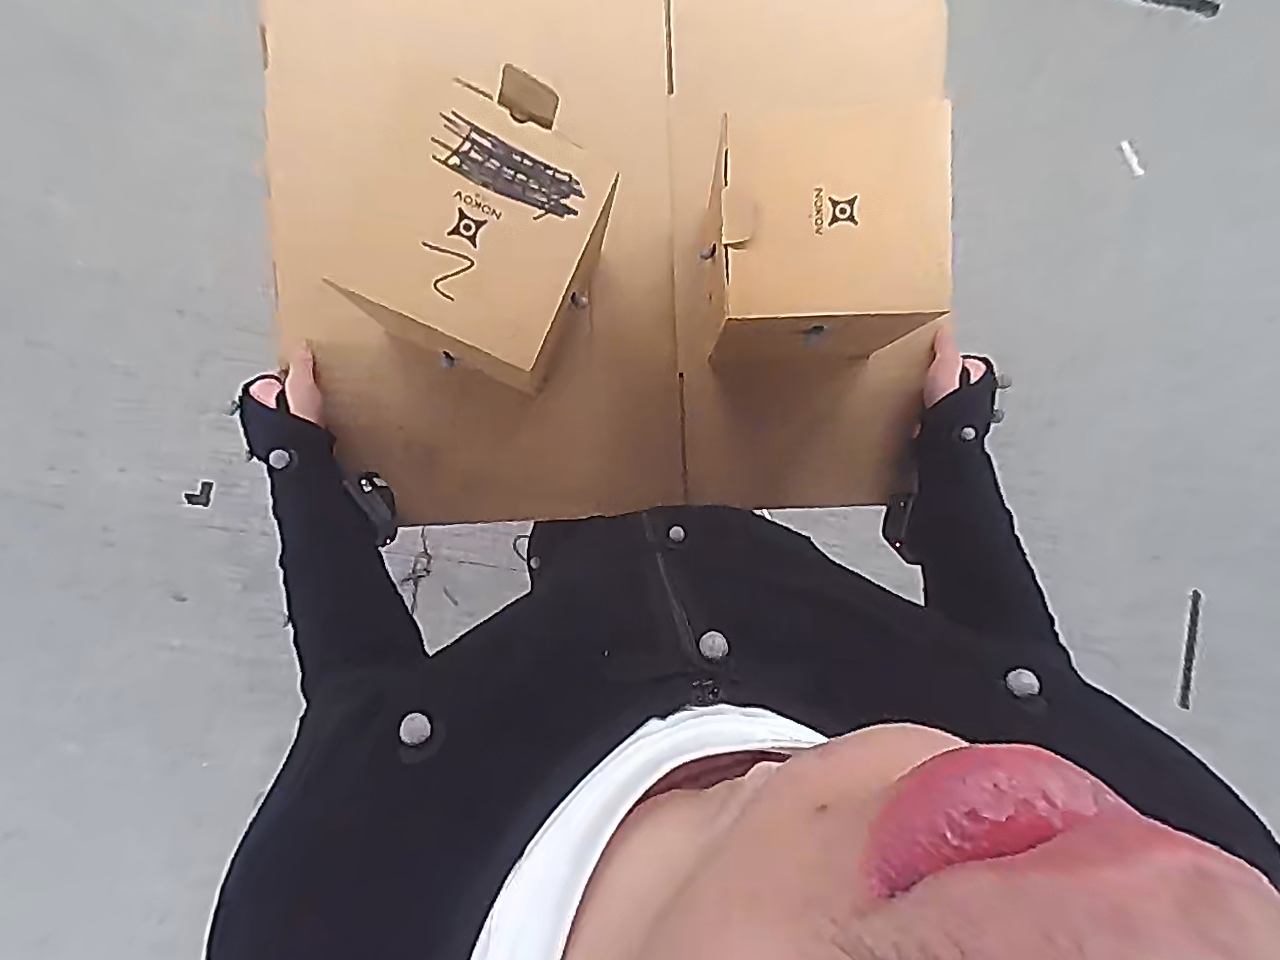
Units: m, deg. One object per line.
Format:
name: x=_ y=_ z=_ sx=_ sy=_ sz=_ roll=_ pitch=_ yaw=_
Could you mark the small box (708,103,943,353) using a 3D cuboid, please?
small box: x=0.160 y=-0.221 z=0.517 sx=0.179 sy=0.176 sz=0.168 roll=-1 pitch=92 yaw=3
